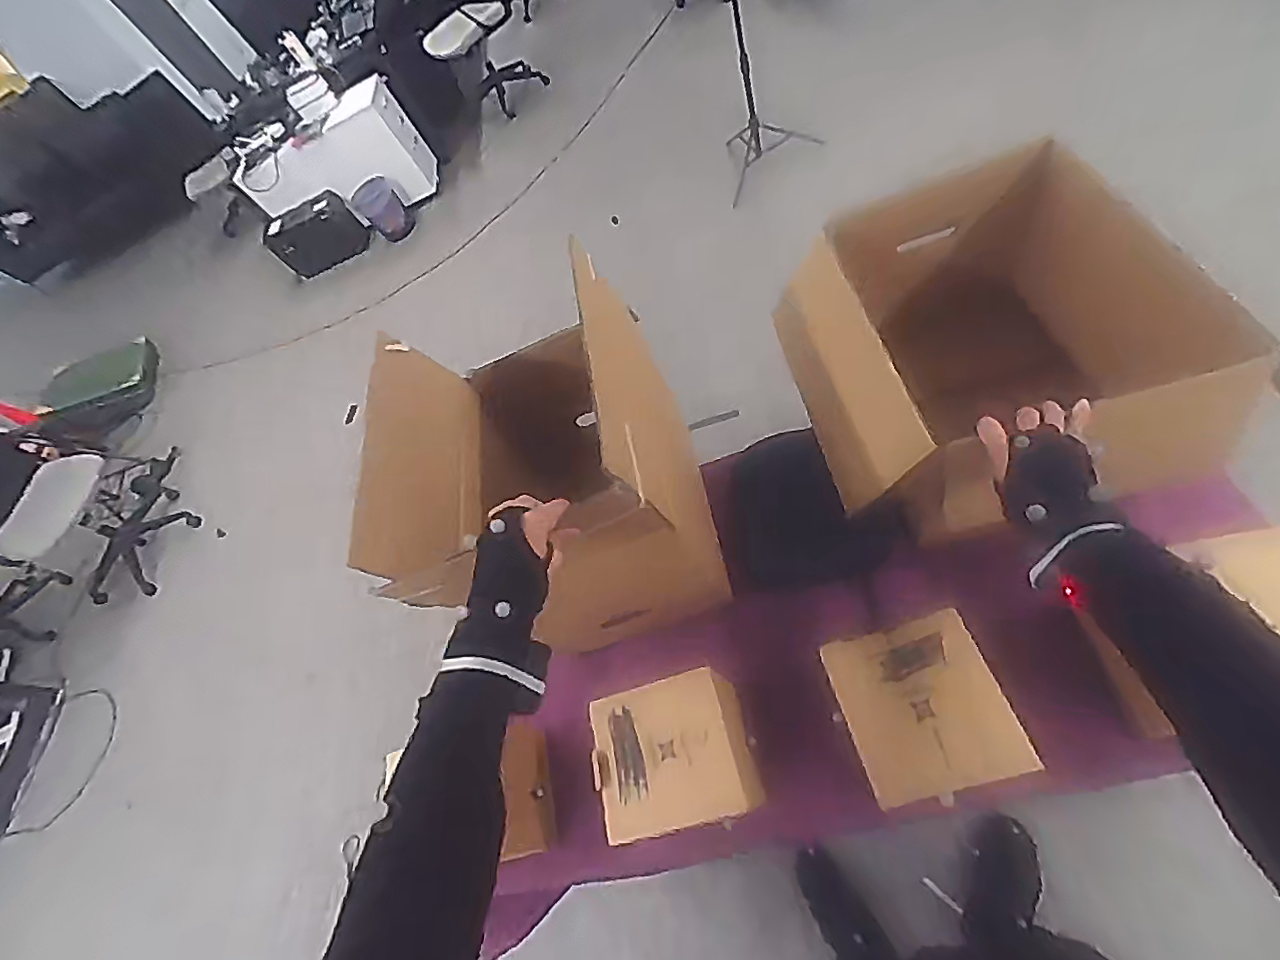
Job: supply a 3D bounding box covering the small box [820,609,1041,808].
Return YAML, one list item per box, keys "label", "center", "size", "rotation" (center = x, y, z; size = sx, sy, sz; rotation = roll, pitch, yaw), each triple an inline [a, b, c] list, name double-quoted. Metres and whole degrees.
- label: "small box"
  center: [0.335, 0.283, 0.662]
  size: [0.168, 0.176, 0.179]
  rotation: [-22, 57, 11]

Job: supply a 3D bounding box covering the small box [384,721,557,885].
- label: "small box"
  center: [-0.245, 0.476, 0.802]
  size: [0.179, 0.176, 0.168]
  rotation: [-22, 56, 9]
